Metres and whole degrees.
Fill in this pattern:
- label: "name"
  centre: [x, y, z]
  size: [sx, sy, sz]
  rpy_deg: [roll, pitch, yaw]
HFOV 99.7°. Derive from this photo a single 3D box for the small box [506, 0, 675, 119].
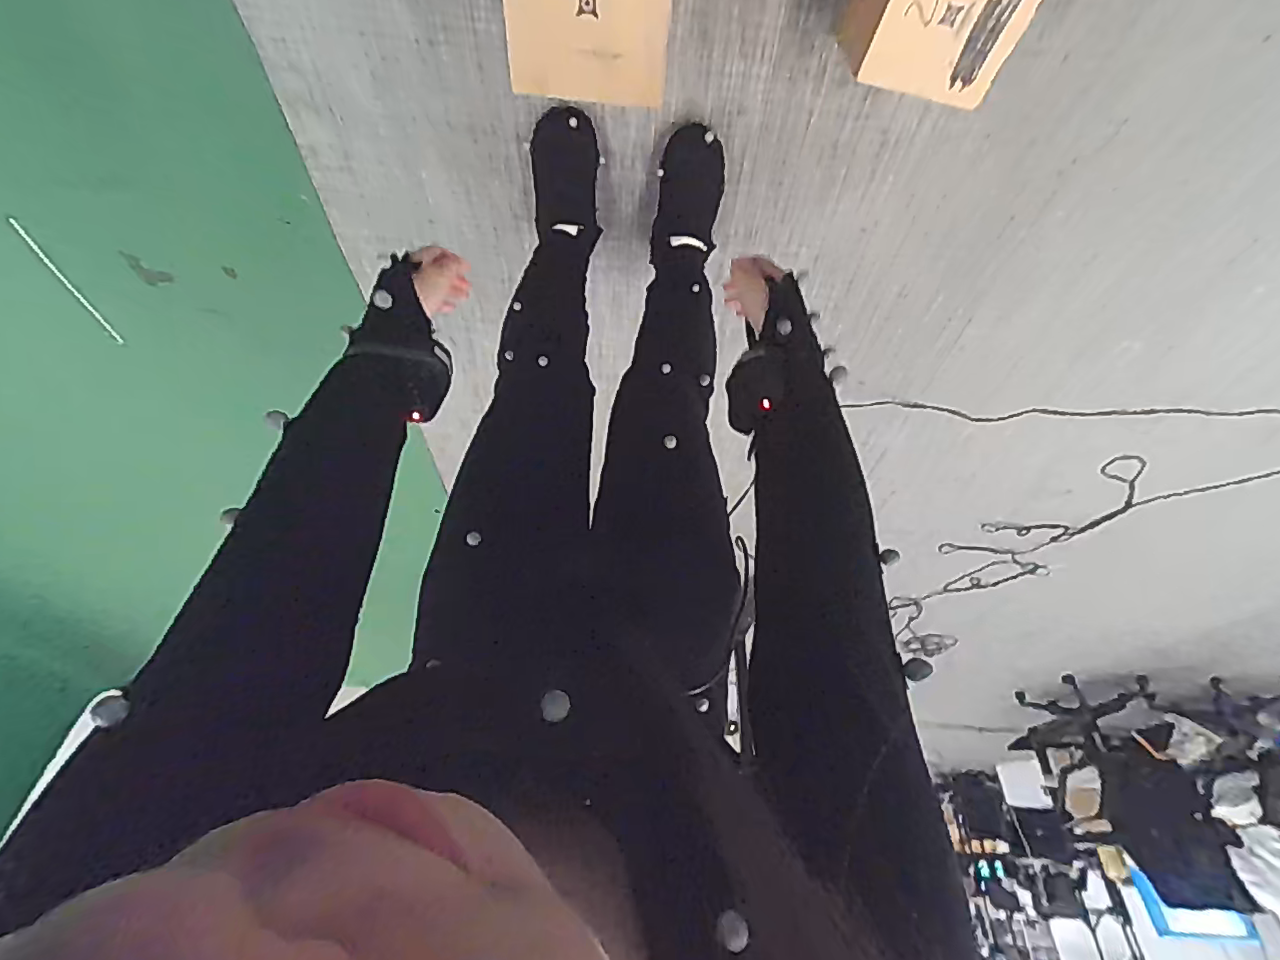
- label: "small box"
  centre: [-0.045, -0.523, 0.573]
  size: [0.168, 0.176, 0.179]
  rpy_deg: [5, 146, -1]
